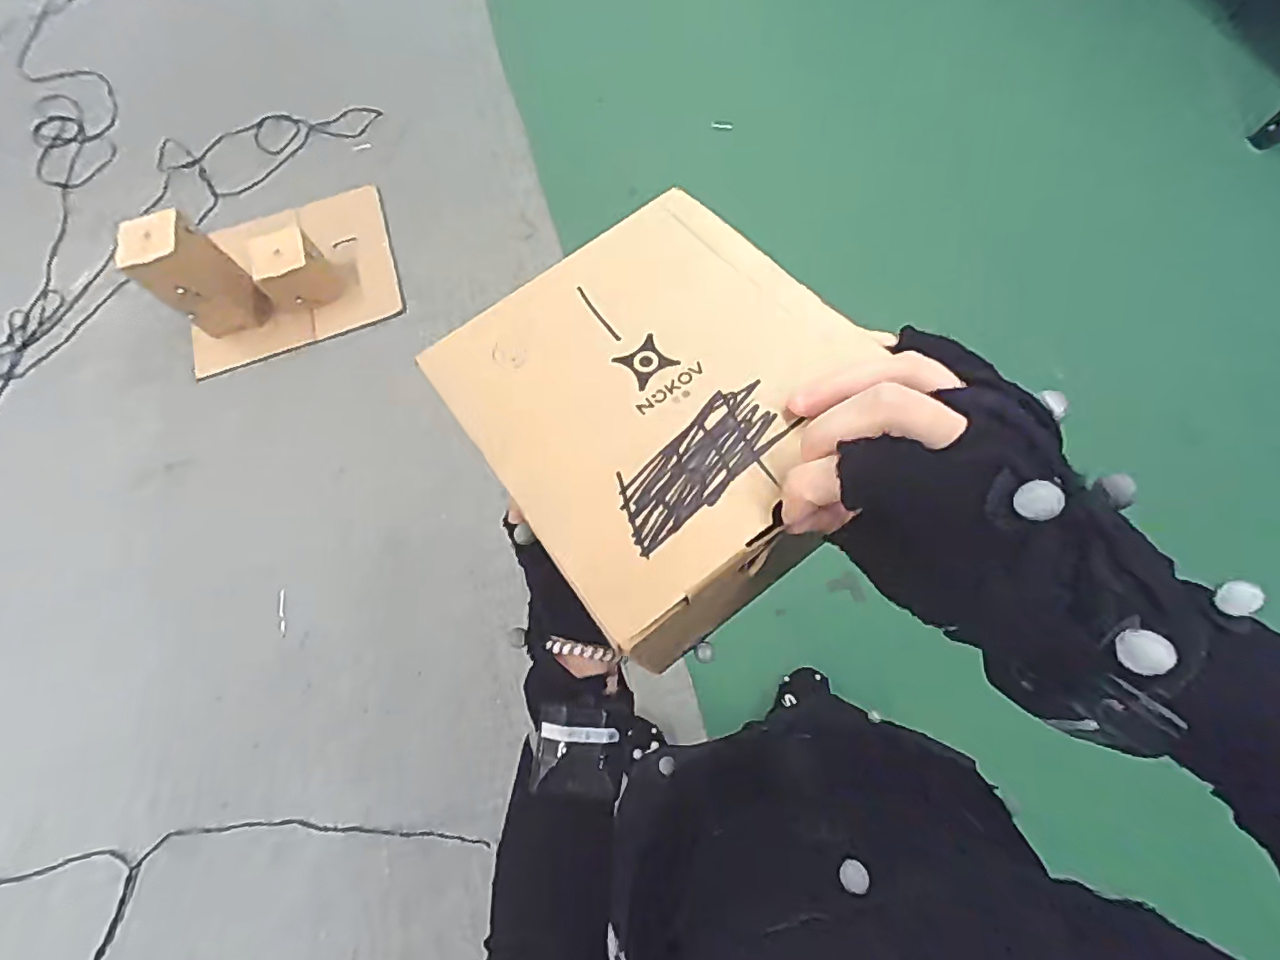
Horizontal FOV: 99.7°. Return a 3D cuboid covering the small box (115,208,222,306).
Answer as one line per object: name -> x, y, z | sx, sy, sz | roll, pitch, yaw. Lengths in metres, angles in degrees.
small box -> -1.357, -0.641, 1.568 | 0.168, 0.176, 0.179 | -17, 70, -1

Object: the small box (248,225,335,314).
small box -> -1.115, -0.673, 1.739 | 0.168, 0.176, 0.179 | -21, 71, -4

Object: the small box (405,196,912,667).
small box -> 0.010, -0.011, 0.315 | 0.168, 0.176, 0.179 | -37, 68, -8
